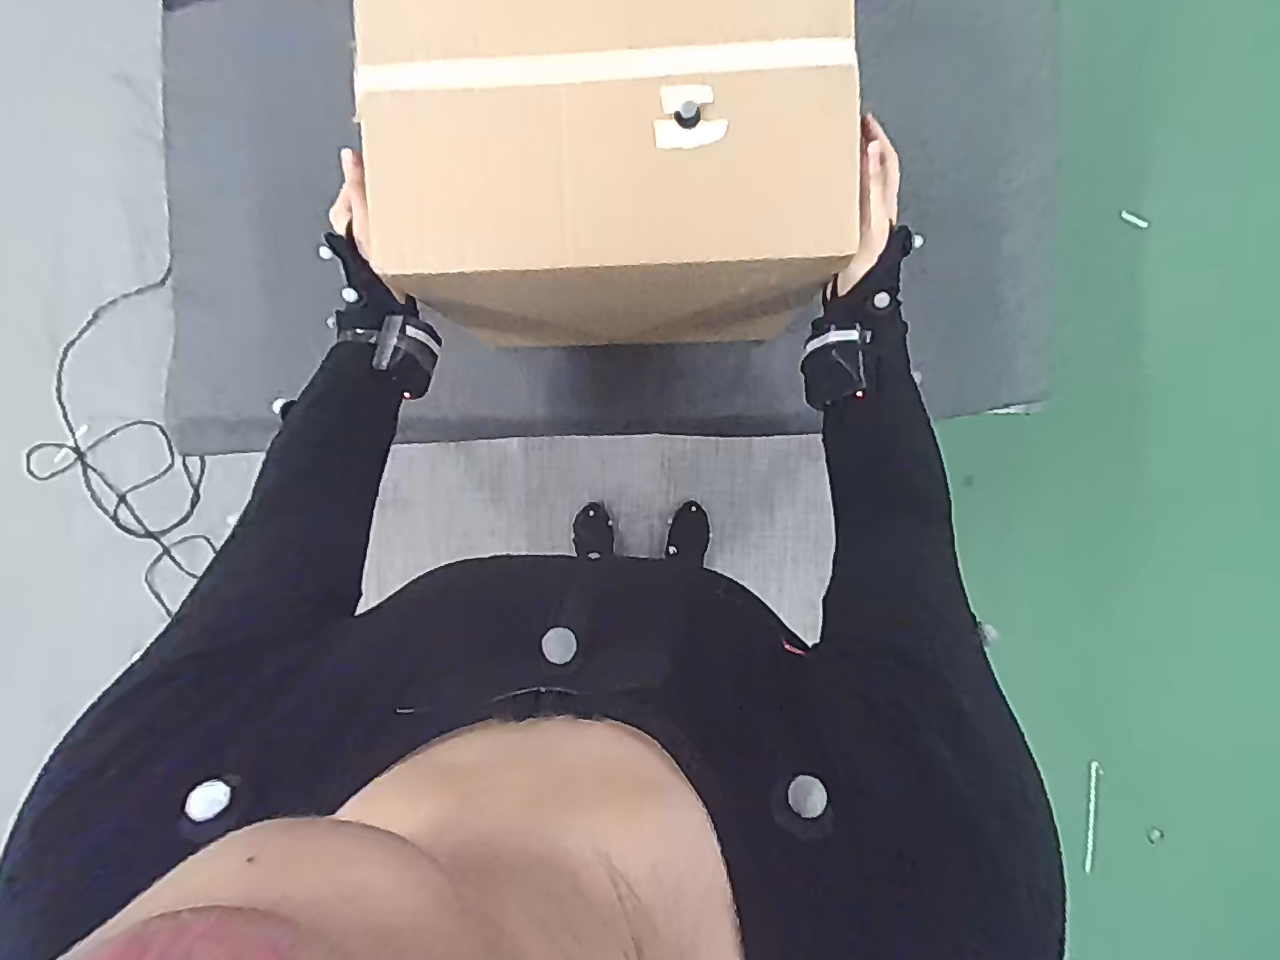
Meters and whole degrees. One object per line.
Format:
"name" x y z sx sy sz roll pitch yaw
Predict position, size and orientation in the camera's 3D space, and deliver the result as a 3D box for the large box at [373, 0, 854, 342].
"large box" -0.023 -0.349 0.603 0.408 0.320 0.320 -2 93 1
